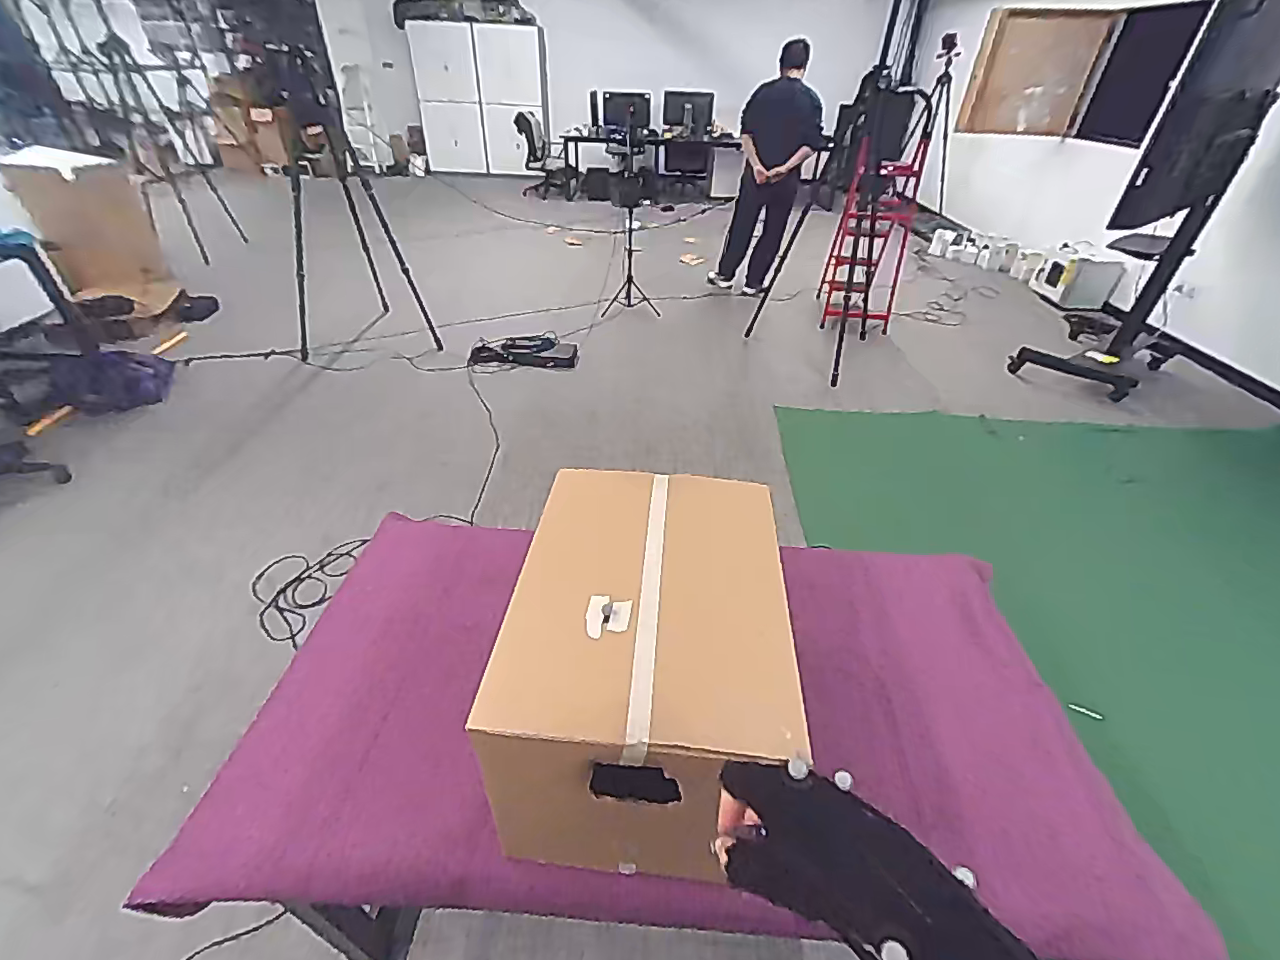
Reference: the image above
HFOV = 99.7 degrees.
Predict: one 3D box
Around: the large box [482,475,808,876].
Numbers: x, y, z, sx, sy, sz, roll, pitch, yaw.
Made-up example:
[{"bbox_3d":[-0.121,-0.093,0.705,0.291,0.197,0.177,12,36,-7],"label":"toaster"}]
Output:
[{"bbox_3d":[0.009,0.243,0.743,0.320,0.320,0.408,5,38,3],"label":"large box"}]
